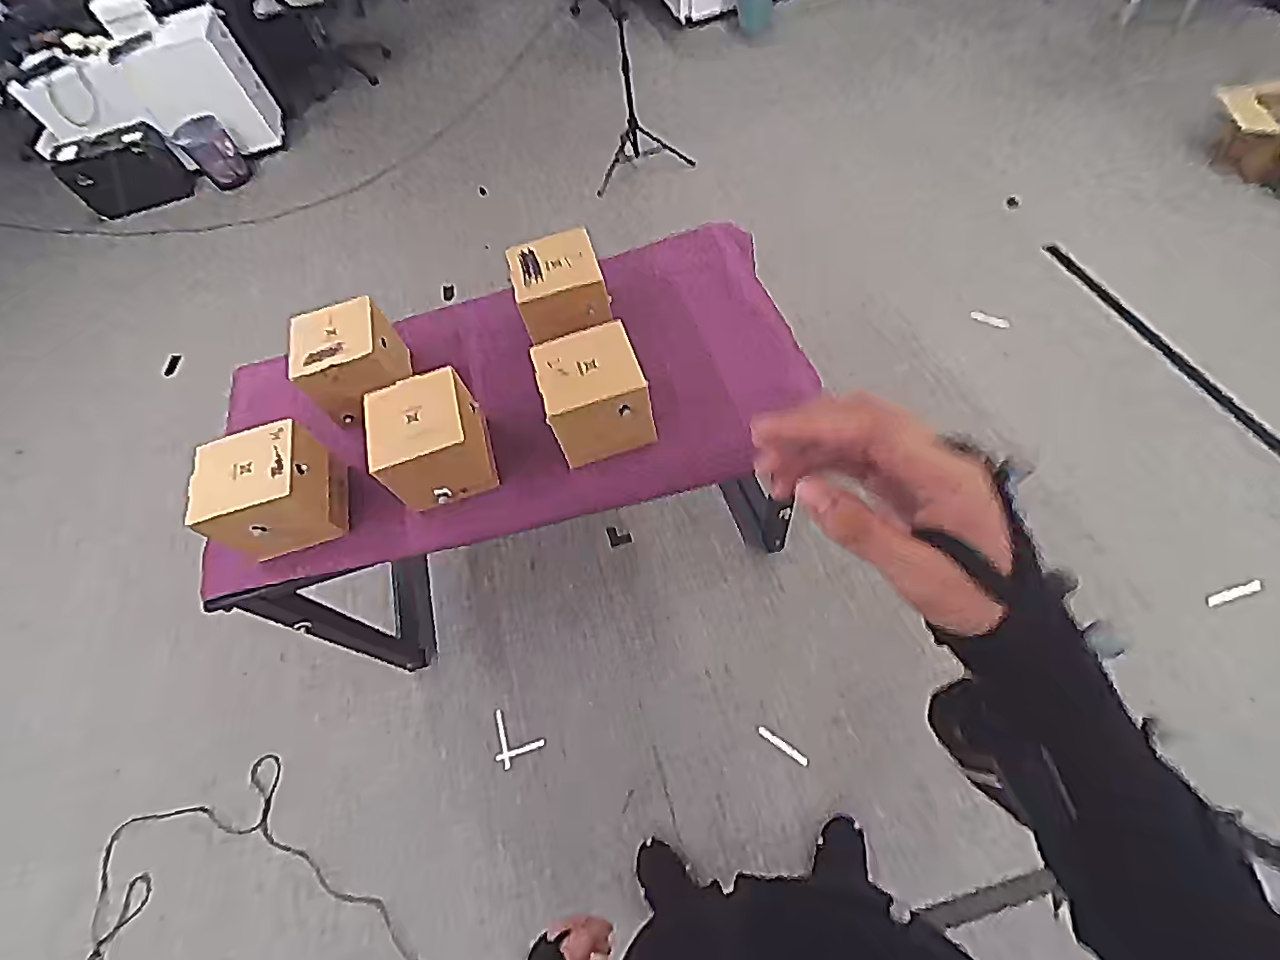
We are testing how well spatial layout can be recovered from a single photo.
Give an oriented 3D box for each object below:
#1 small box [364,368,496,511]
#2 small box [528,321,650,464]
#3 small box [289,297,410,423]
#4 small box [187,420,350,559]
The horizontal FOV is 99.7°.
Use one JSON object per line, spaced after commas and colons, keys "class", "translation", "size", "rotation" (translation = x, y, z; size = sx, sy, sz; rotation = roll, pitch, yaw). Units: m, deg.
{"class": "small box", "translation": [-0.383, -0.069, 1.000], "size": [0.168, 0.176, 0.179], "rotation": [-19, 62, -2]}
{"class": "small box", "translation": [-0.086, -0.156, 0.999], "size": [0.179, 0.176, 0.168], "rotation": [-19, 60, -1]}
{"class": "small box", "translation": [-0.595, -0.239, 1.126], "size": [0.168, 0.176, 0.179], "rotation": [-19, 60, -2]}
{"class": "small box", "translation": [-0.663, 0.024, 0.987], "size": [0.179, 0.176, 0.168], "rotation": [-18, 61, -1]}
